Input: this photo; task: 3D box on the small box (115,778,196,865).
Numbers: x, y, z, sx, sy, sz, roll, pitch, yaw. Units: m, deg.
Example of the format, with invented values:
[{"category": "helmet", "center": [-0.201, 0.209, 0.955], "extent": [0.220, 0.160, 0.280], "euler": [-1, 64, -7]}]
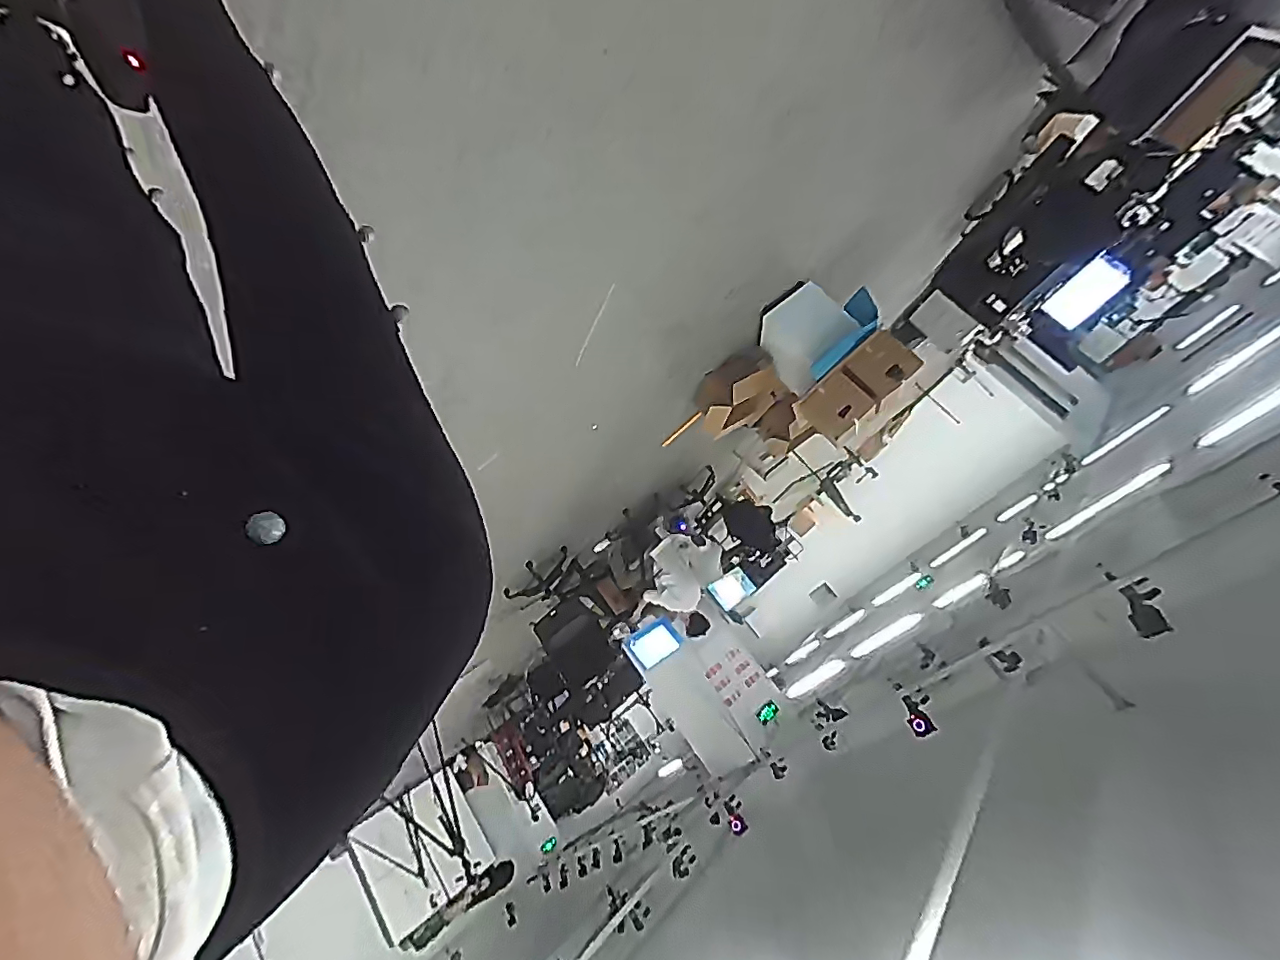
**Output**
[{"category": "small box", "center": [-1.613, 1.134, 1.804], "extent": [0.168, 0.176, 0.179], "euler": [-20, 154, -48]}]
